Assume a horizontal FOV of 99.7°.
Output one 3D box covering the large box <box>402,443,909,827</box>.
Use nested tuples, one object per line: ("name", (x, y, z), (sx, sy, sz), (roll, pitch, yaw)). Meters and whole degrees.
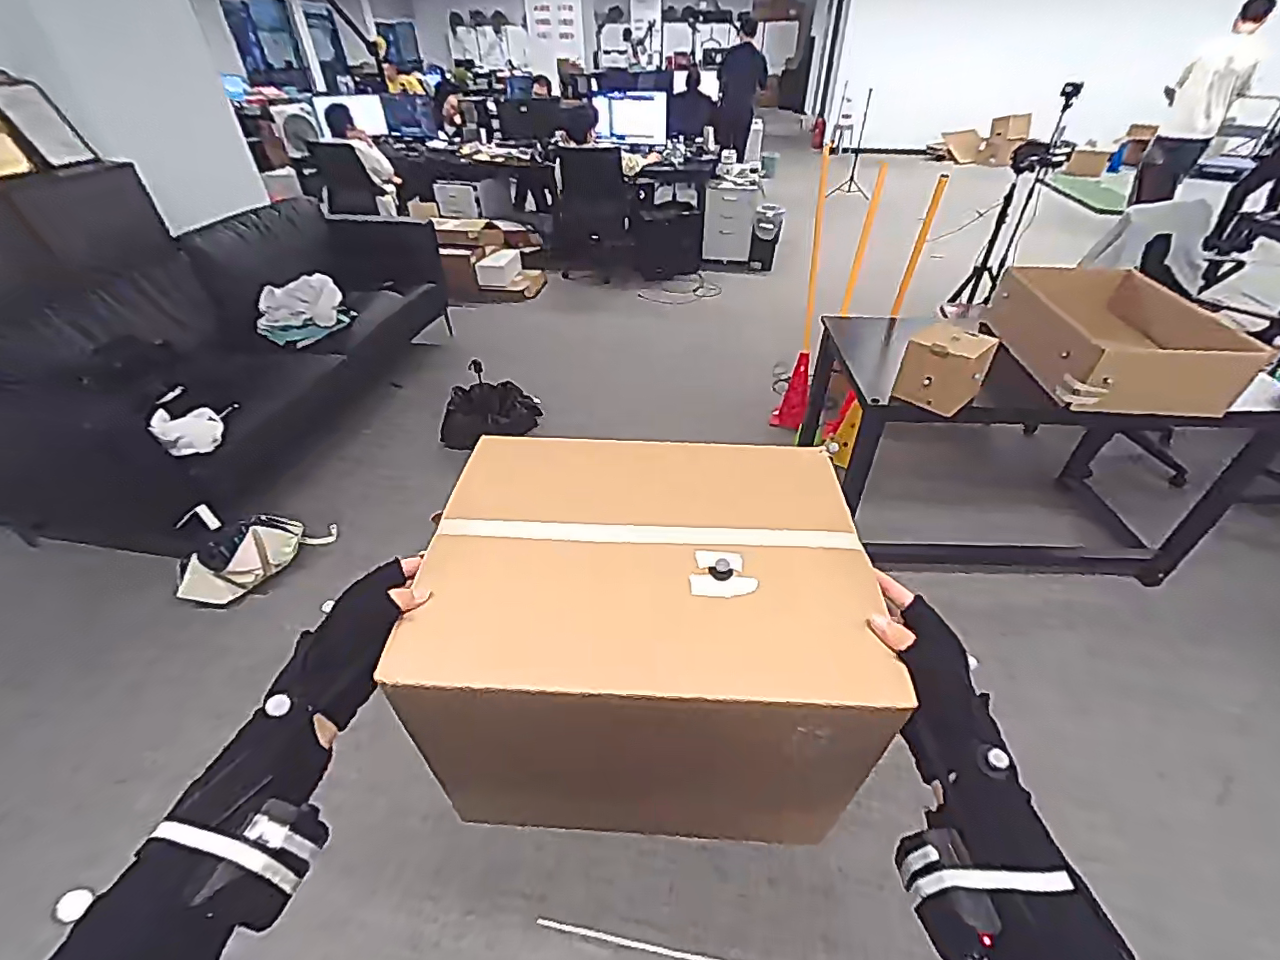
("large box", (0.011, 0.173, 0.624), (0.408, 0.320, 0.320), (2, 41, 1))
